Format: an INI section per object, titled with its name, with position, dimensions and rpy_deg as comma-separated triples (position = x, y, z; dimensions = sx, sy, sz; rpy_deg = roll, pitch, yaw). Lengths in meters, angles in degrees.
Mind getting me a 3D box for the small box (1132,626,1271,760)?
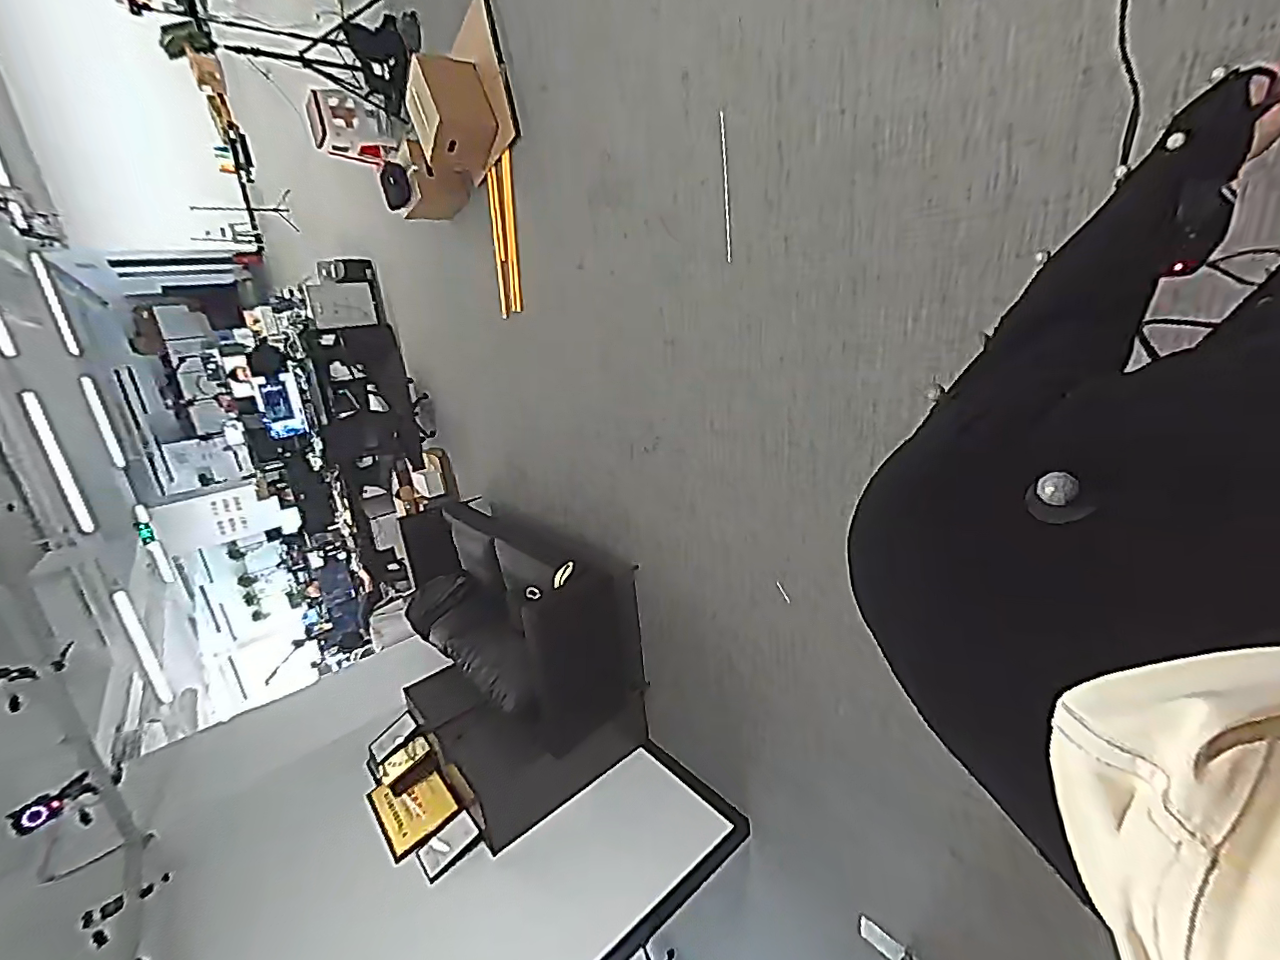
[small box]
position = 1.227, 0.455, 1.182
dimensions = 0.168, 0.176, 0.179
rpy_deg = 23, 123, 46
